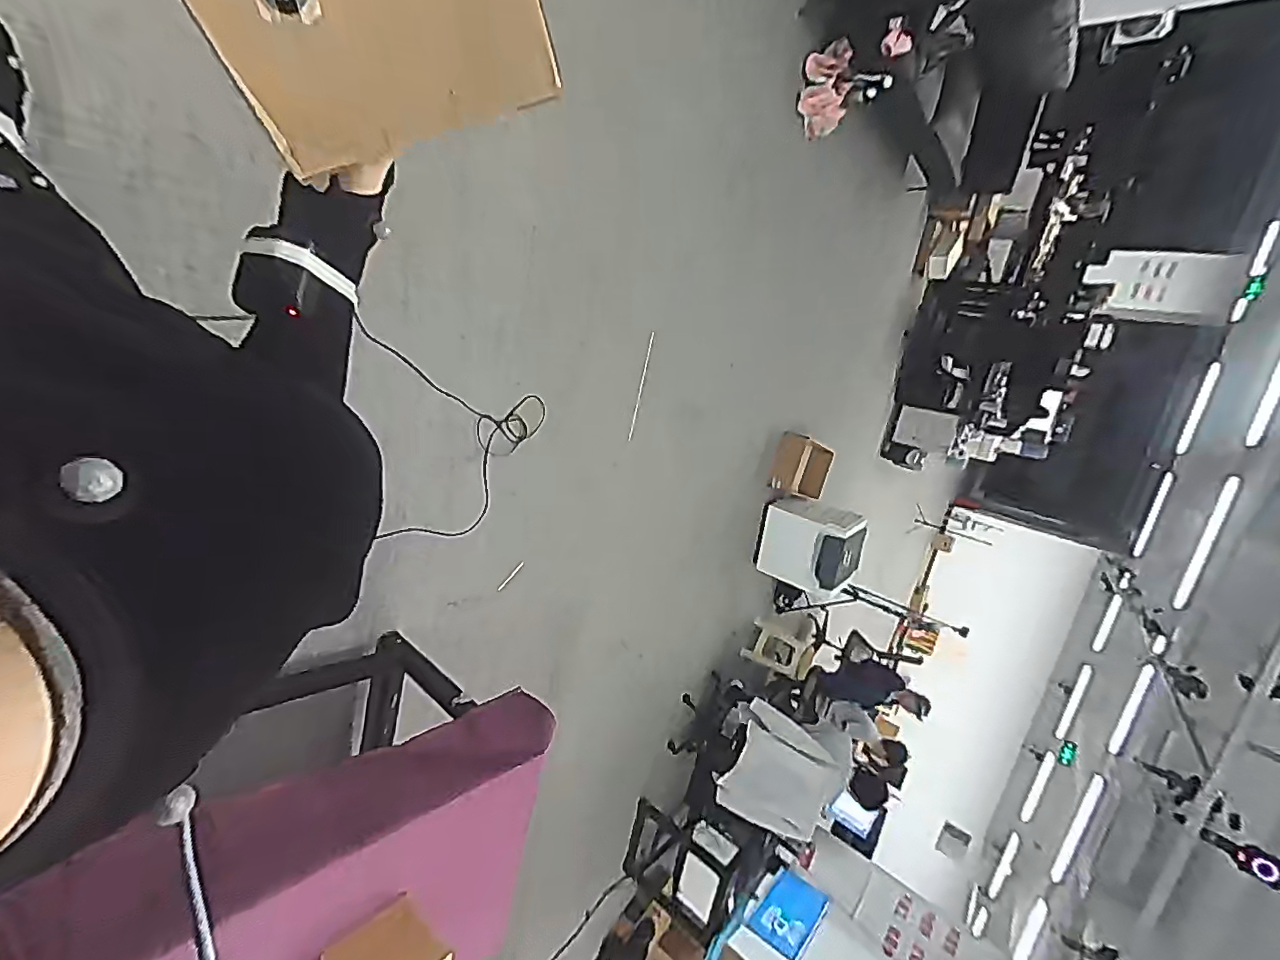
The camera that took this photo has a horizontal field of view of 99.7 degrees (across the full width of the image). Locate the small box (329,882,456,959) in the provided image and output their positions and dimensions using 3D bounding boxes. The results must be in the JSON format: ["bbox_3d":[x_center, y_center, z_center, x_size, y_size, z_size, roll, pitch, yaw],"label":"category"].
[{"bbox_3d":[-0.498,0.969,1.082,0.179,0.176,0.168,-7,113,-49],"label":"small box"}]

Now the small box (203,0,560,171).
[{"bbox_3d":[-0.159,-0.316,0.319,0.168,0.179,0.176,-18,132,1],"label":"small box"}]
